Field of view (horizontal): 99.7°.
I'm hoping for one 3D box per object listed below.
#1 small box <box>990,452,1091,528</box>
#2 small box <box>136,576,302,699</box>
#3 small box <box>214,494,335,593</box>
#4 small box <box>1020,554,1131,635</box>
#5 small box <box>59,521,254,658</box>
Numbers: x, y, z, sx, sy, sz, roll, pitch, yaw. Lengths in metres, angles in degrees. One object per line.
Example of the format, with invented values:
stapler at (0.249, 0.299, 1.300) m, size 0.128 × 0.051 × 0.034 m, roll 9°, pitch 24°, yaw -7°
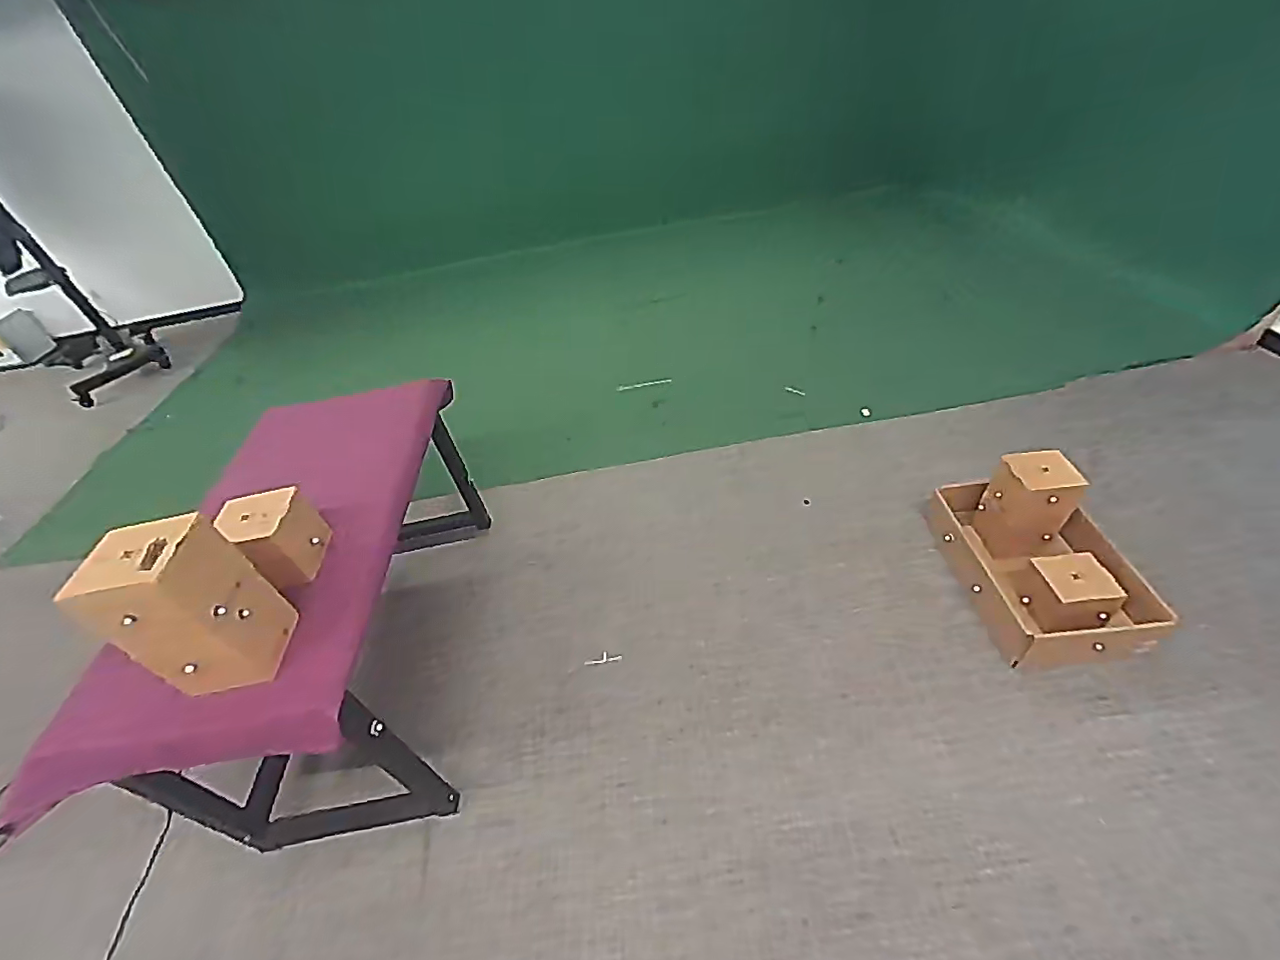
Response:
small box at (1.259, 0.032, 1.714) m, size 0.179 × 0.176 × 0.168 m, roll -7°, pitch 42°, yaw 5°
small box at (-0.847, 0.327, 1.110) m, size 0.179 × 0.176 × 0.168 m, roll -12°, pitch 42°, yaw 1°
small box at (-0.879, 0.164, 1.299) m, size 0.179 × 0.176 × 0.168 m, roll -12°, pitch 42°, yaw 0°
small box at (1.284, 0.343, 1.610) m, size 0.179 × 0.176 × 0.168 m, roll -8°, pitch 40°, yaw 5°
small box at (-0.873, 0.204, 1.003) m, size 0.179 × 0.176 × 0.168 m, roll -12°, pitch 41°, yaw 1°
